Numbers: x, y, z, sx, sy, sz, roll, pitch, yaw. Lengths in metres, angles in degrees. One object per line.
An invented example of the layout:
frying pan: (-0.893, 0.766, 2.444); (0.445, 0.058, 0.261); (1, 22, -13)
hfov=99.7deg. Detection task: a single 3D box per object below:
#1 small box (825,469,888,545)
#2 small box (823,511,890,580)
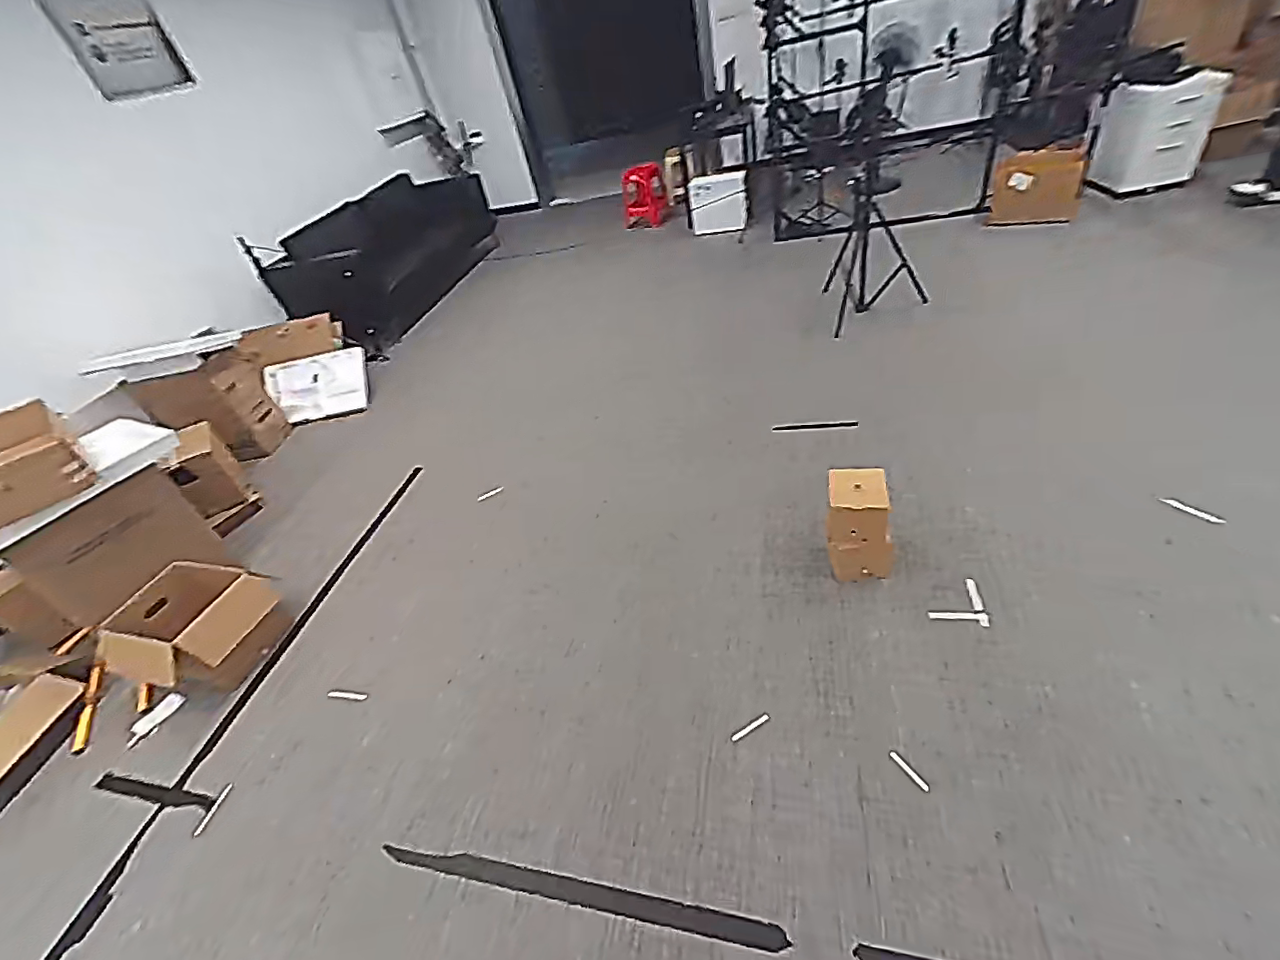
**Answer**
small box: (0.676, 0.084, 1.705); (0.168, 0.176, 0.179); (-1, 42, 17)
small box: (0.714, 0.209, 1.802); (0.168, 0.176, 0.179); (-10, 40, 8)
